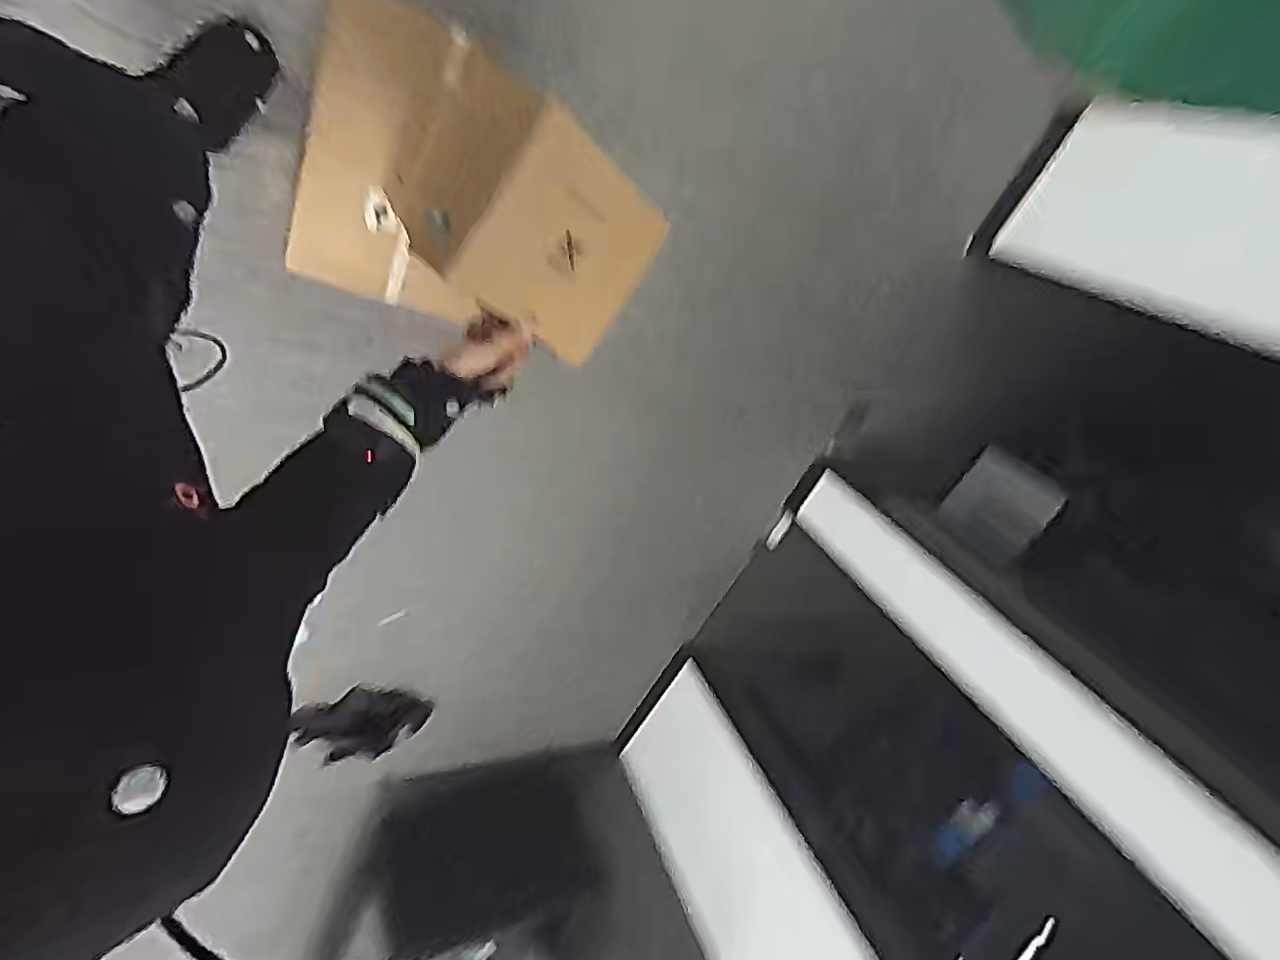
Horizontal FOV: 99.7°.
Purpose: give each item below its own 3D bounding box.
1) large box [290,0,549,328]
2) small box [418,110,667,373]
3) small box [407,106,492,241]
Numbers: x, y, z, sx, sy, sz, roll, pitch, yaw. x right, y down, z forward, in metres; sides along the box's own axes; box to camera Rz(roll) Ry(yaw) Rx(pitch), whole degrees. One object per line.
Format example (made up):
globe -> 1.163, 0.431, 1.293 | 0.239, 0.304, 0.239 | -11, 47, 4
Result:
large box -> -0.412, -0.557, 0.967 | 0.320, 0.320, 0.408 | 10, 122, -37
small box -> -0.112, -0.247, 0.571 | 0.168, 0.176, 0.179 | 28, 99, -45
small box -> -0.182, -0.343, 0.702 | 0.168, 0.176, 0.179 | 21, 114, -43
